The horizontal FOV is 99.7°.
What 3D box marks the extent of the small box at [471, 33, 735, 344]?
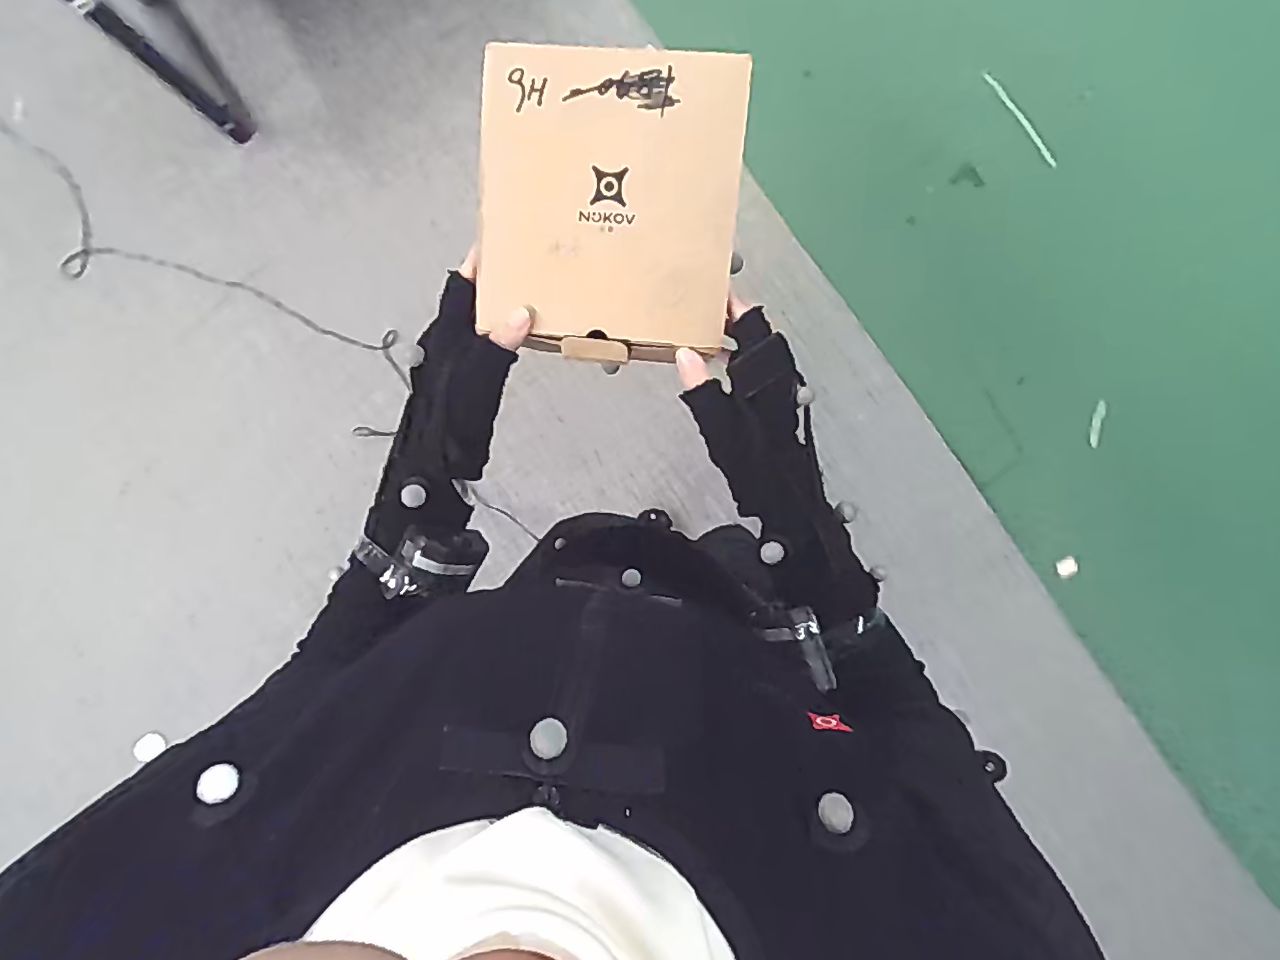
[{"bbox_3d":[-0.021,-0.203,0.426,0.168,0.176,0.179,5,101,4],"label":"small box"}]
